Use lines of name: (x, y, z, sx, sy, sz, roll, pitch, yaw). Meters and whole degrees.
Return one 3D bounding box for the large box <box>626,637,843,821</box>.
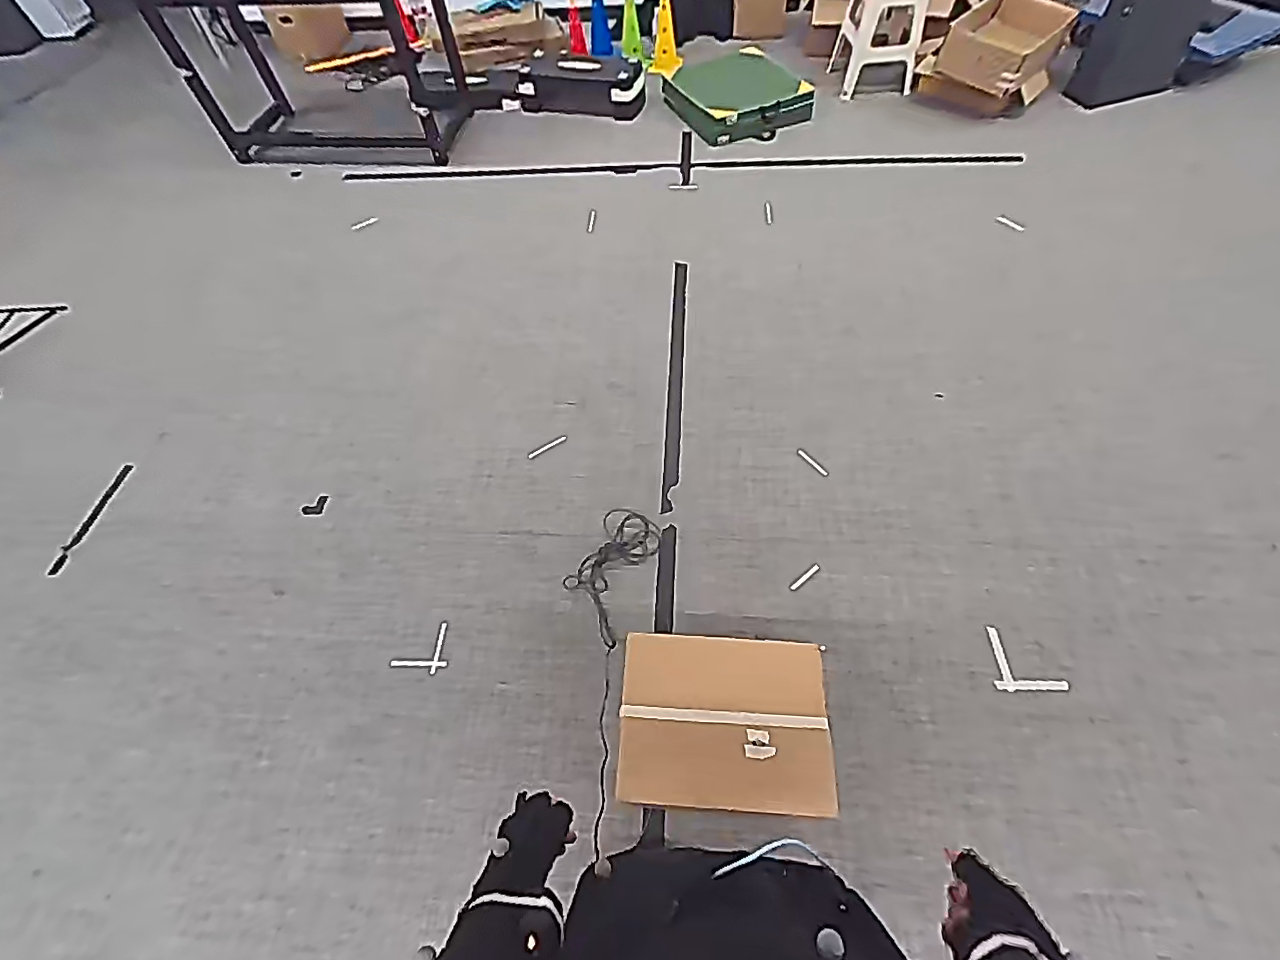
large box: (0.182, 0.554, 1.188, 0.408, 0.320, 0.320, 3, 58, 3)
